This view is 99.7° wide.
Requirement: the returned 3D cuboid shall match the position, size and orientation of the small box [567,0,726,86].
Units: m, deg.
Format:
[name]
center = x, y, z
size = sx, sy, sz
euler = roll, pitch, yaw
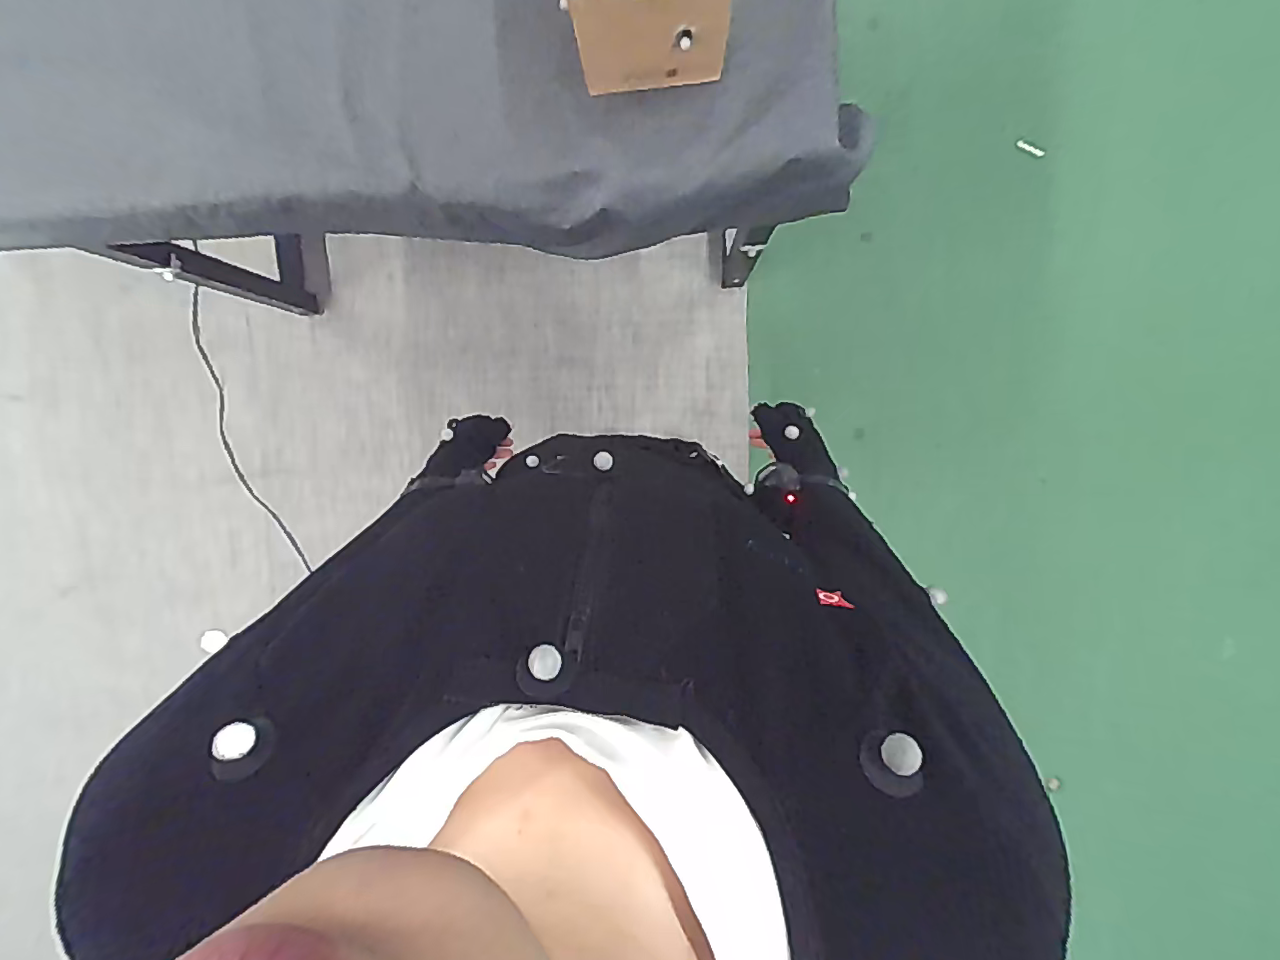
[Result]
[small box]
center = 0.006, -0.567, 0.590
size = 0.168, 0.176, 0.179
euler = -5, 94, 3
